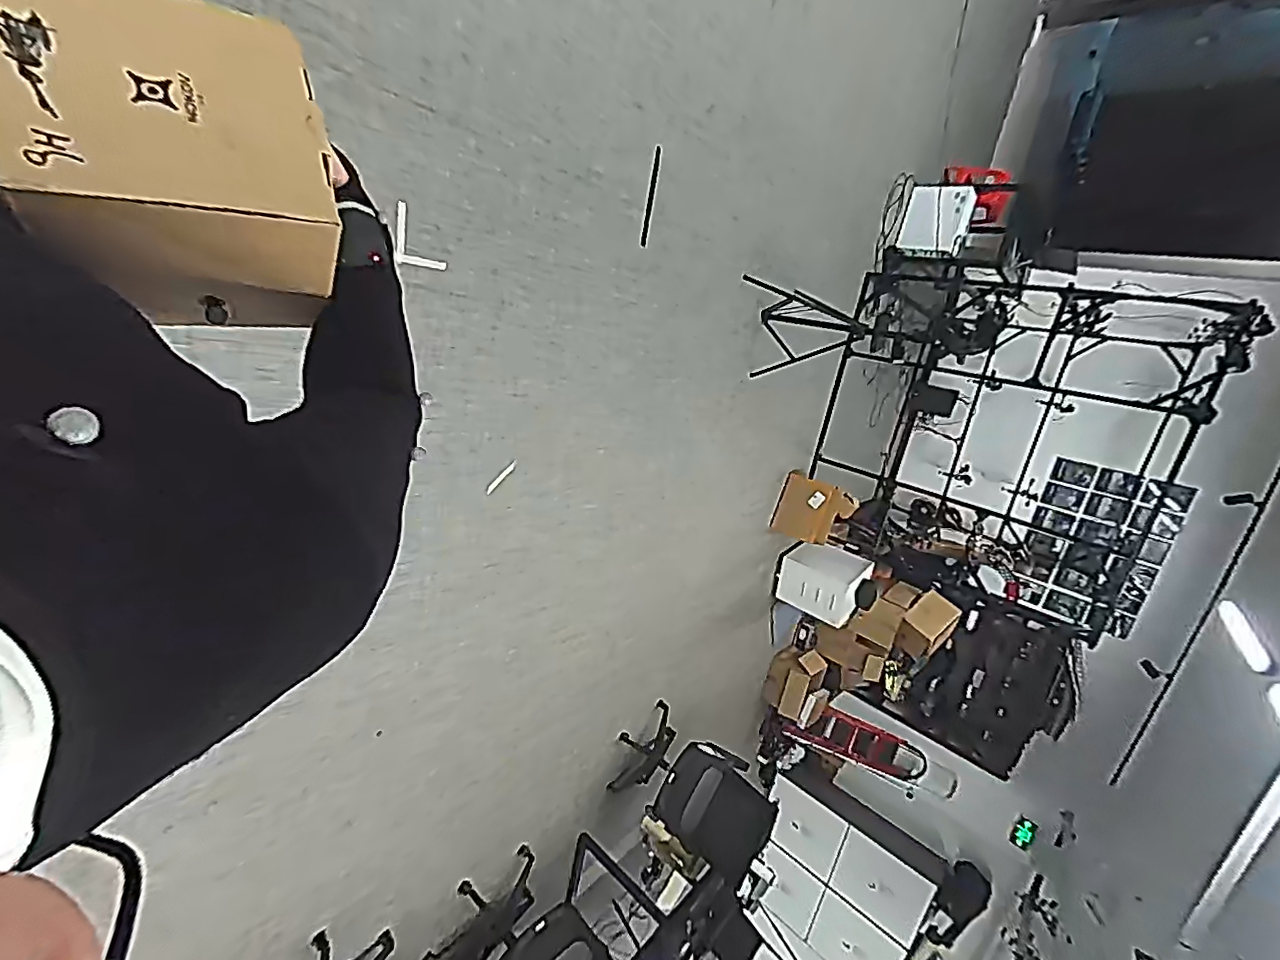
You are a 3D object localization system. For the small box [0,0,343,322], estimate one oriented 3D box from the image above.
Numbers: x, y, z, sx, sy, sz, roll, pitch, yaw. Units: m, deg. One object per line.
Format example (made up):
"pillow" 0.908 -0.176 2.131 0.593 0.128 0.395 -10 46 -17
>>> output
"small box" -0.363 -0.243 0.441 0.179 0.176 0.168 -11 82 -36
